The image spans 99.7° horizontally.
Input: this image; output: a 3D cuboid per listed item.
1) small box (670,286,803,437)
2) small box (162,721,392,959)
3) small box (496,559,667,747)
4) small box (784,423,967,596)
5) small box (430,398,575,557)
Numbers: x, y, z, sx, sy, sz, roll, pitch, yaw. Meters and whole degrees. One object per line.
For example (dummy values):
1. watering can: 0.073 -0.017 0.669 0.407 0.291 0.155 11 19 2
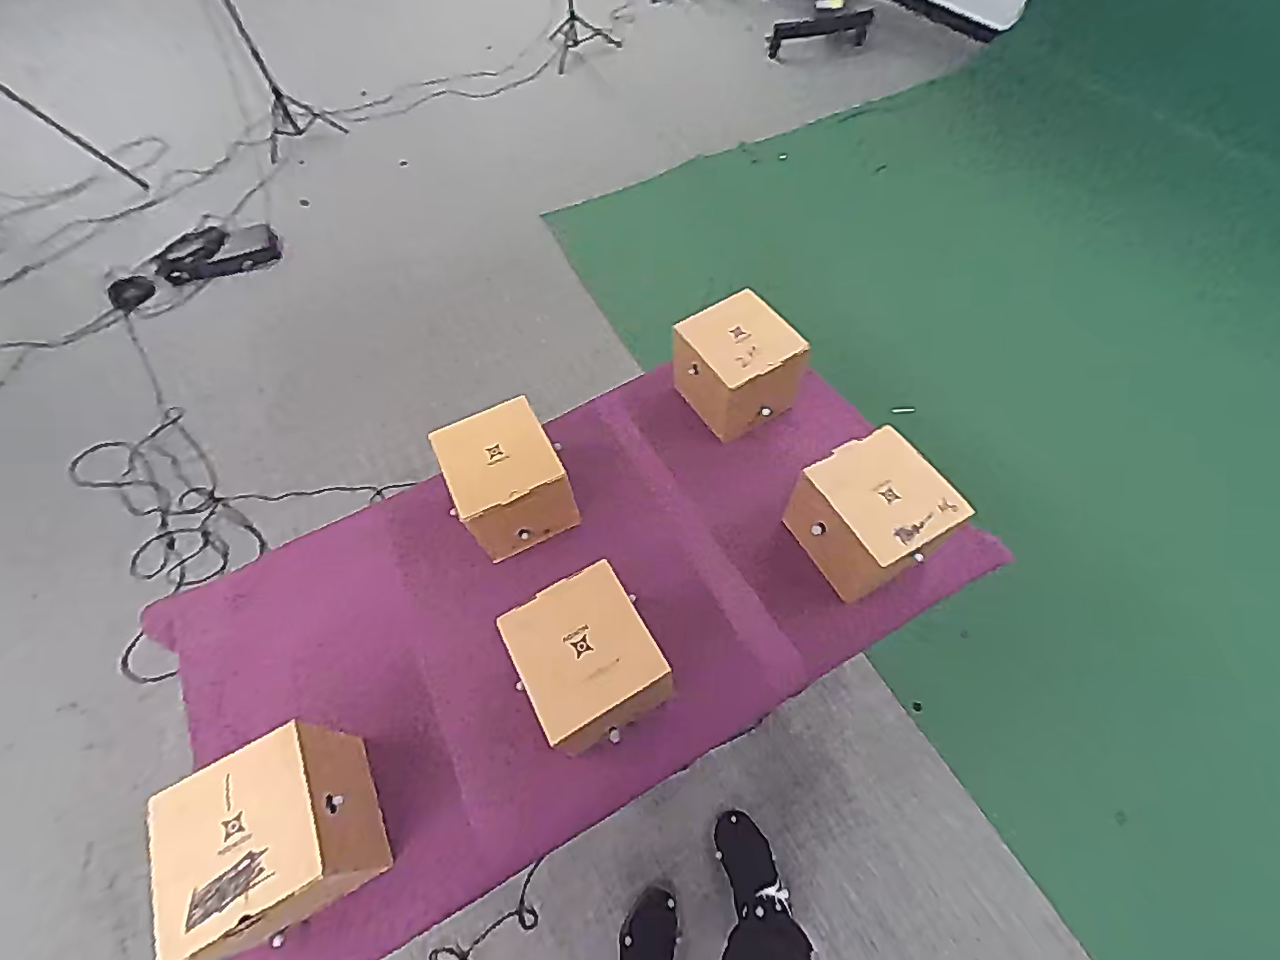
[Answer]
1. small box: 0.170 -0.213 0.998 0.168 0.176 0.179 -30 63 -9
2. small box: -0.439 0.432 0.674 0.168 0.176 0.179 -28 60 -12
3. small box: -0.075 0.247 0.756 0.168 0.176 0.179 -28 61 -11
4. small box: 0.344 0.050 0.834 0.168 0.176 0.179 -27 62 -10
5. small box: -0.224 0.001 0.910 0.168 0.176 0.179 -26 64 -11
